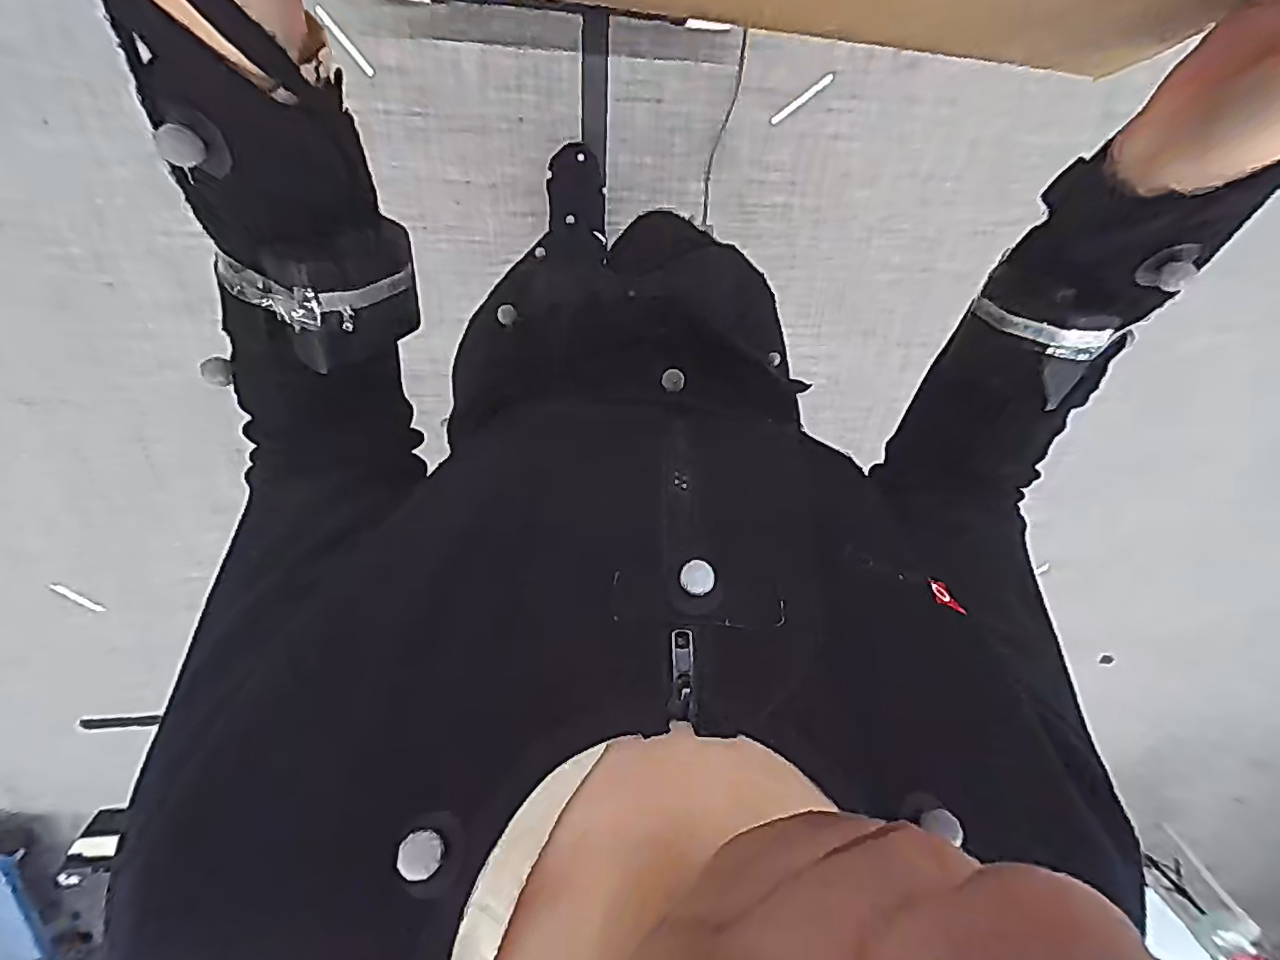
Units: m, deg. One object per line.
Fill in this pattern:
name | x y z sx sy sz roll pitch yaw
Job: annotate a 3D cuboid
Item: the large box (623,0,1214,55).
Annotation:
large box | 0.071 -0.343 0.094 0.408 0.320 0.320 2 108 -5
